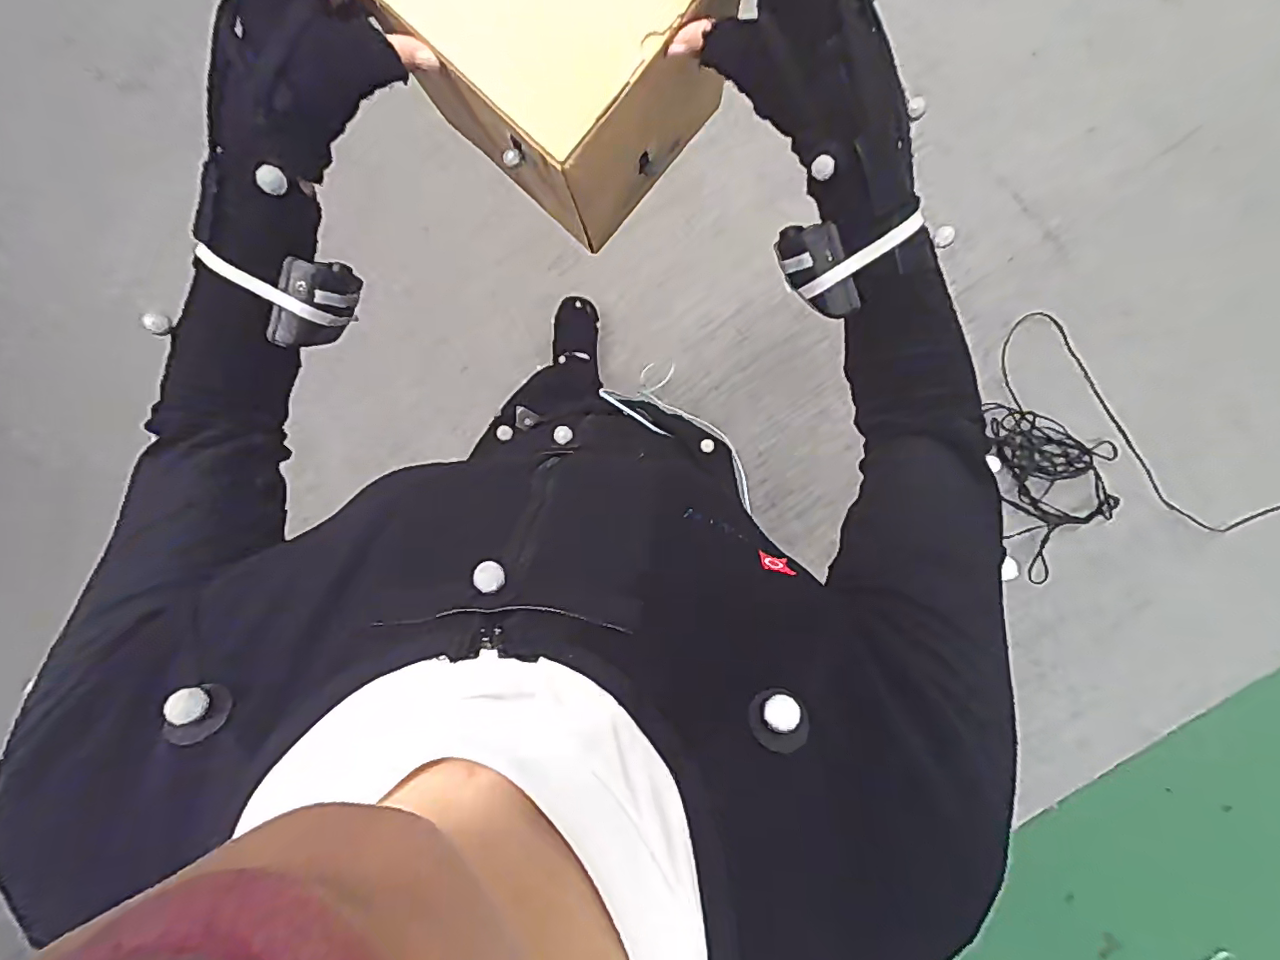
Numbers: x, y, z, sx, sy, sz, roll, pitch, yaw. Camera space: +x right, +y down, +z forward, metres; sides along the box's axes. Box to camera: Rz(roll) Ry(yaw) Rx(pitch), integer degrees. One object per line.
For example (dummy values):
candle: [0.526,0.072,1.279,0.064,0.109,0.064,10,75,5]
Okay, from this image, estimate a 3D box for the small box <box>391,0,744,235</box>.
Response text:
small box: [-0.049,-0.314,0.388,0.179,0.176,0.168,42,95,-5]
